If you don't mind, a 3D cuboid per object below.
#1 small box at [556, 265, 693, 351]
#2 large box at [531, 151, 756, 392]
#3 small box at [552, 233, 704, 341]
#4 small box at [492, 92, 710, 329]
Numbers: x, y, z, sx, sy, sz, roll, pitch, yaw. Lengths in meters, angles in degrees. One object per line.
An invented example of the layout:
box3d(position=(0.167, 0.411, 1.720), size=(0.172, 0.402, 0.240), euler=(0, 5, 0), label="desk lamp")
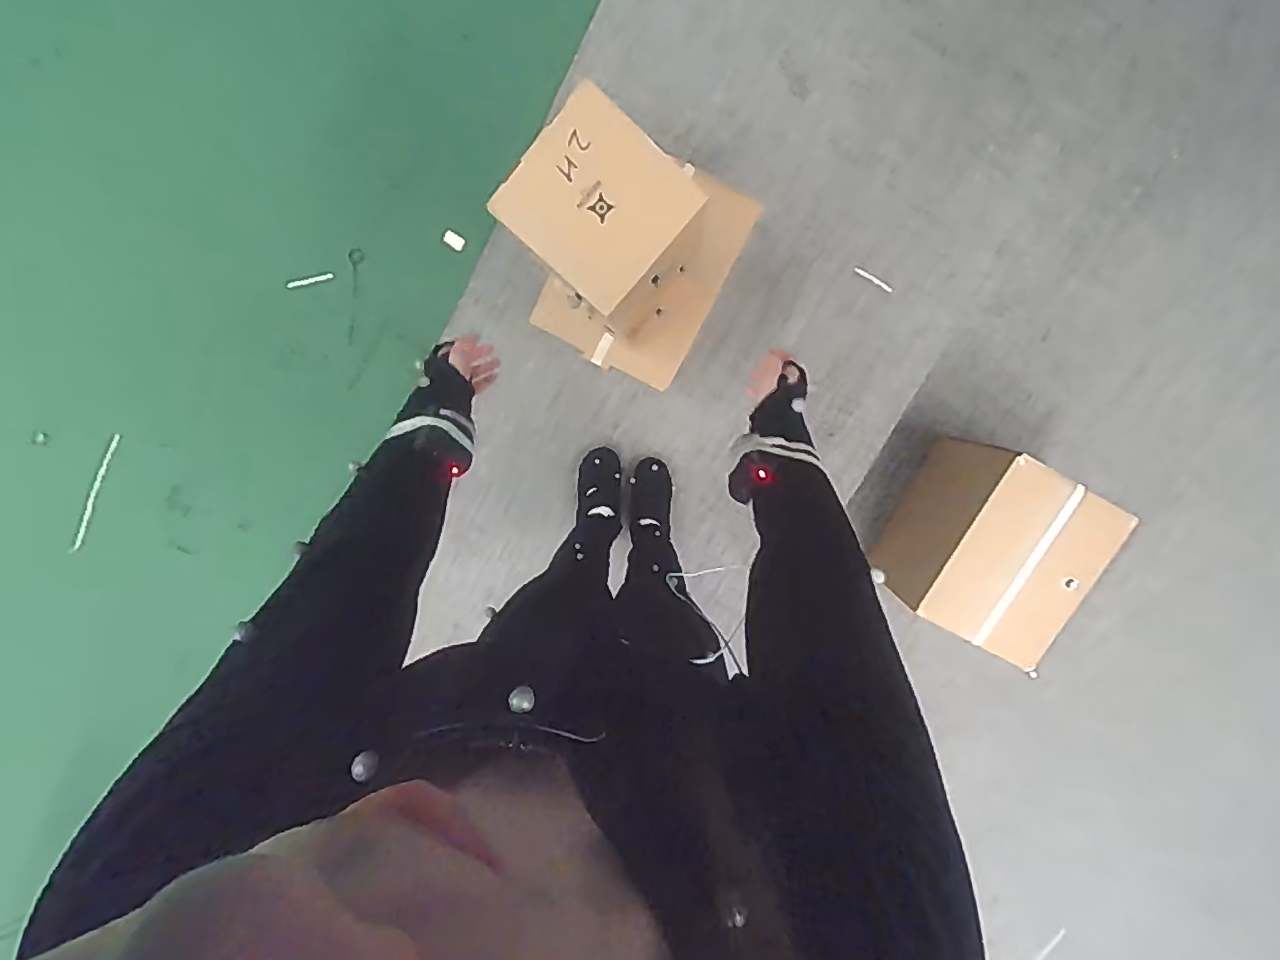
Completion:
box3d(position=(-0.027, -0.352, 0.974), size=(0.168, 0.176, 0.179), euler=(38, 99, -6), label="small box")
box3d(position=(0.003, -0.441, 1.204), size=(0.320, 0.320, 0.408), euler=(27, 99, -5), label="large box")
box3d(position=(-0.028, -0.331, 0.813), size=(0.168, 0.176, 0.179), euler=(42, 100, -6), label="small box")
box3d(position=(-0.040, -0.300, 0.651), size=(0.179, 0.176, 0.168), euler=(42, 98, -7), label="small box")
